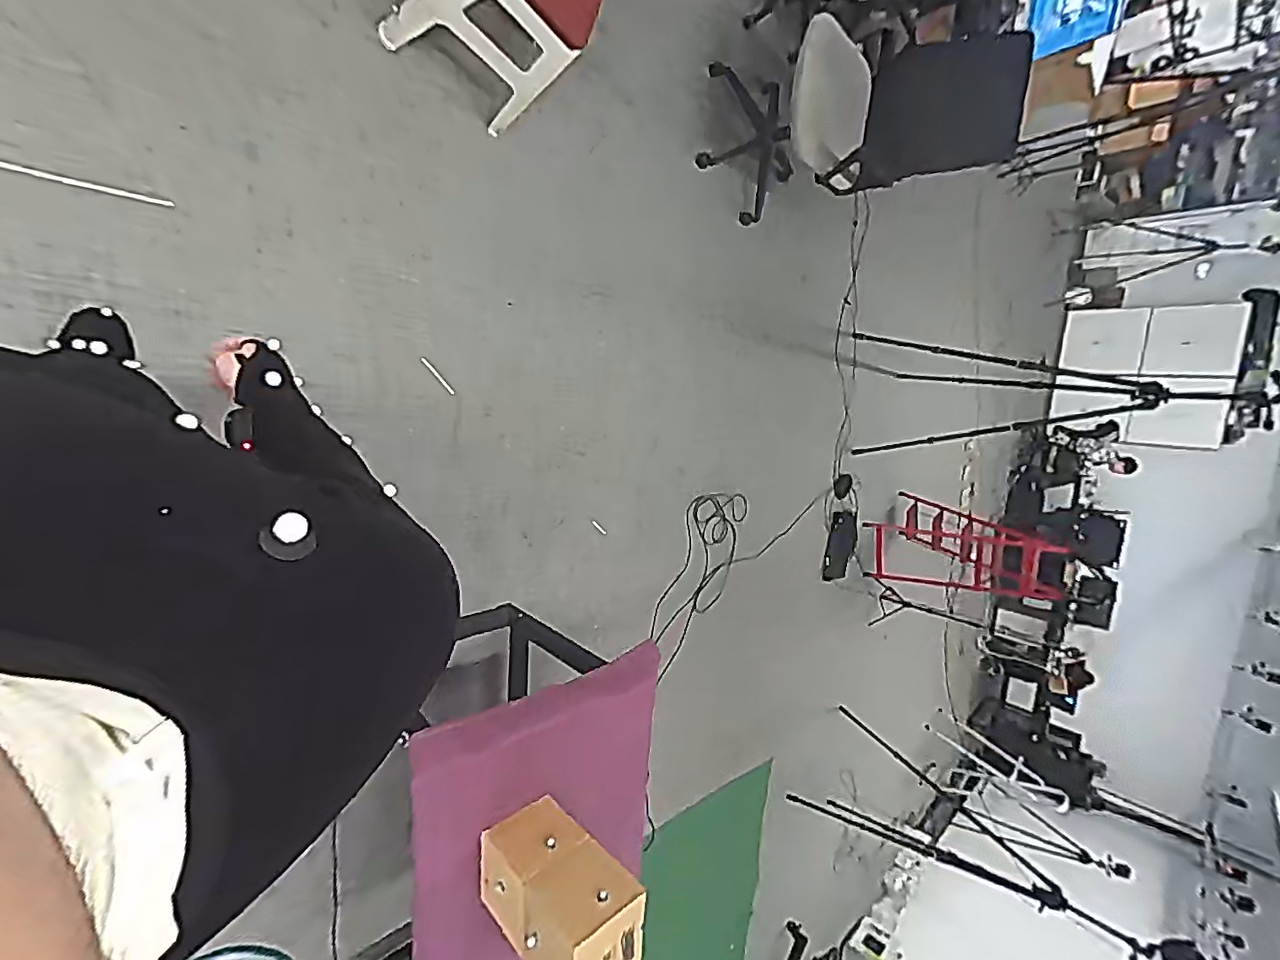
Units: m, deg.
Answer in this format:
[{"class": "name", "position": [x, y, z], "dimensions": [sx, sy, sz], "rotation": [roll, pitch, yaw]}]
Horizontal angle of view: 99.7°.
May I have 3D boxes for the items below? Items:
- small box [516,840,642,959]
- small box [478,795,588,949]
[{"class": "small box", "position": [-0.119, 0.857, 1.054], "dimensions": [0.179, 0.176, 0.168], "rotation": [-5, 102, -43]}, {"class": "small box", "position": [-0.235, 0.830, 1.168], "dimensions": [0.179, 0.176, 0.168], "rotation": [-6, 103, -44]}]
